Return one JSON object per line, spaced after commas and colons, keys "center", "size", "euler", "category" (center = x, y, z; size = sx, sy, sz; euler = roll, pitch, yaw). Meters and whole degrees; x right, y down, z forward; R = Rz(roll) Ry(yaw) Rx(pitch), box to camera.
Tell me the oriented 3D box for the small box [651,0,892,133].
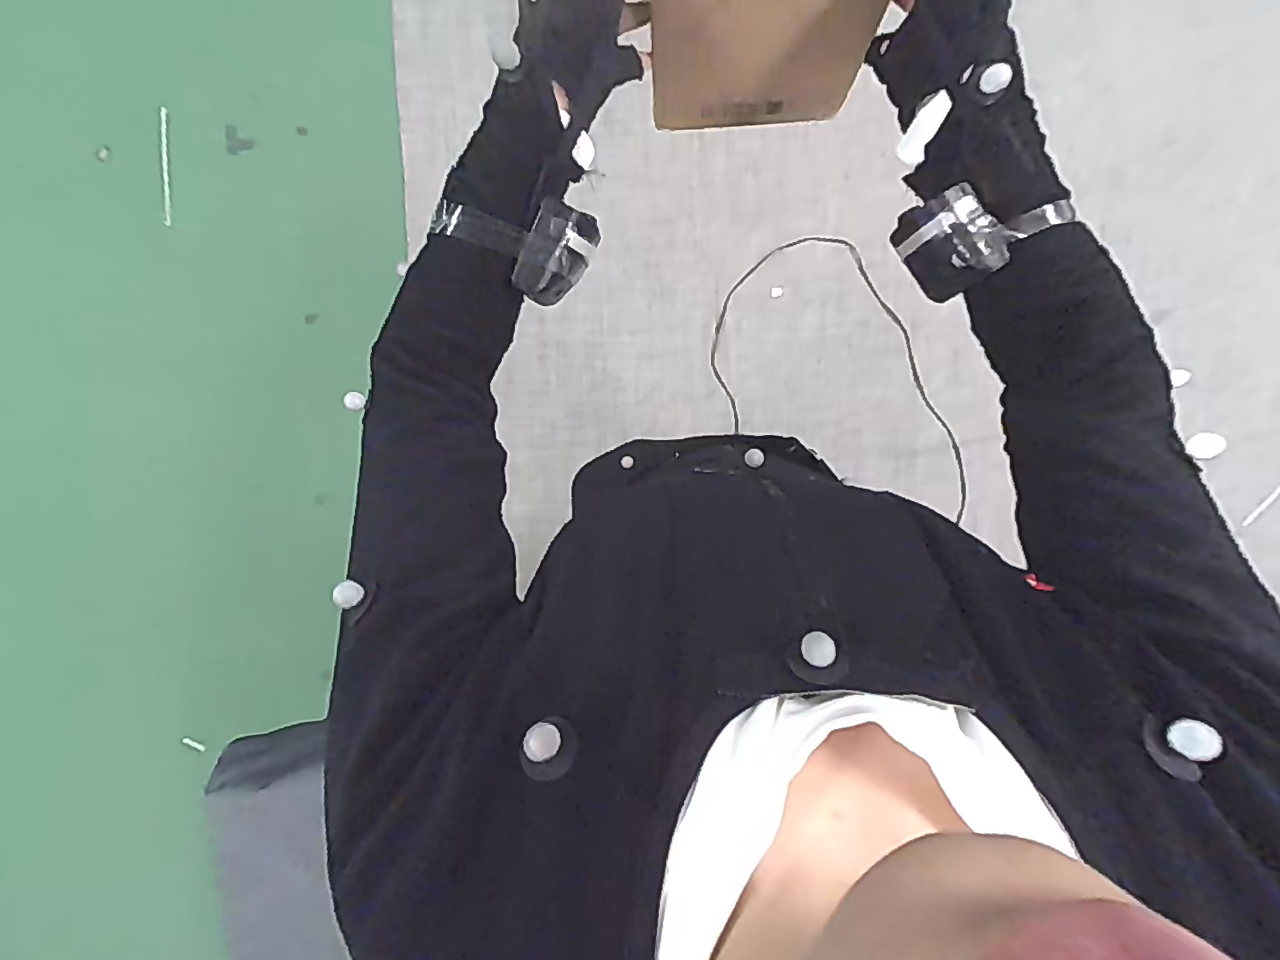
{"center": [0.092, -0.410, 0.416], "size": [0.168, 0.176, 0.179], "euler": [-2, 85, 2], "category": "small box"}
